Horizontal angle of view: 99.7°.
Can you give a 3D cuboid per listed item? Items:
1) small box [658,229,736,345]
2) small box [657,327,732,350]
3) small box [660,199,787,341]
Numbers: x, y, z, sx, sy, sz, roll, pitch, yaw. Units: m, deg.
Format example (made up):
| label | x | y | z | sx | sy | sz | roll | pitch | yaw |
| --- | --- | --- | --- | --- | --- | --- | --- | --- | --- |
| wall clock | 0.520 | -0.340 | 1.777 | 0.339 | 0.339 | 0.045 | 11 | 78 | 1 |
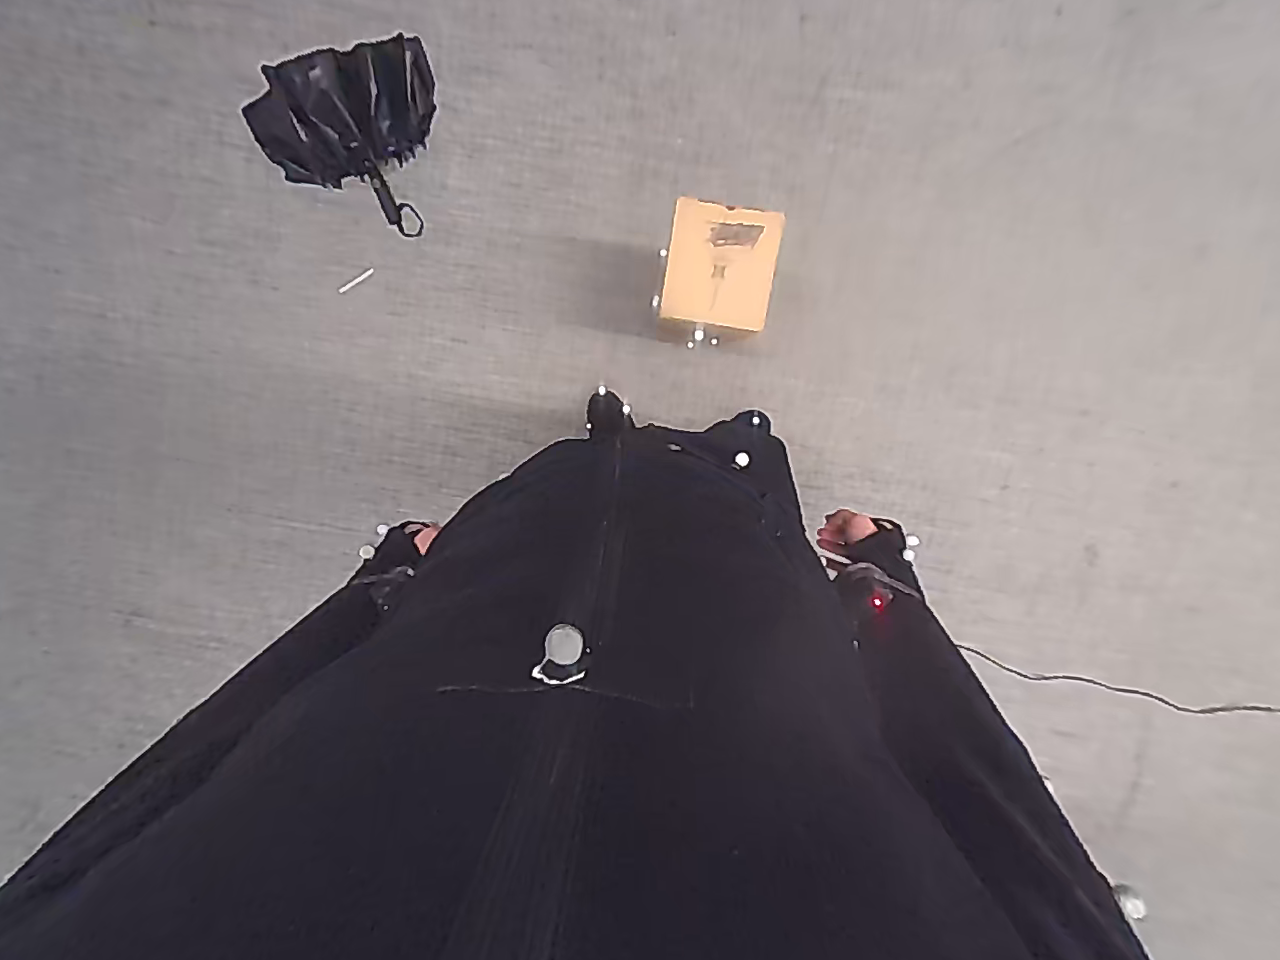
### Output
| label | x | y | z | sx | sy | sz | roll | pitch | yaw |
| --- | --- | --- | --- | --- | --- | --- | --- | --- | --- |
| small box | 0.129 | -0.366 | 1.058 | 0.168 | 0.176 | 0.179 | 8 | 98 | 0 |
| small box | 0.132 | -0.393 | 1.217 | 0.168 | 0.176 | 0.179 | 8 | 100 | -1 |
| small box | 0.127 | -0.336 | 0.897 | 0.168 | 0.176 | 0.179 | 10 | 102 | -1 |
